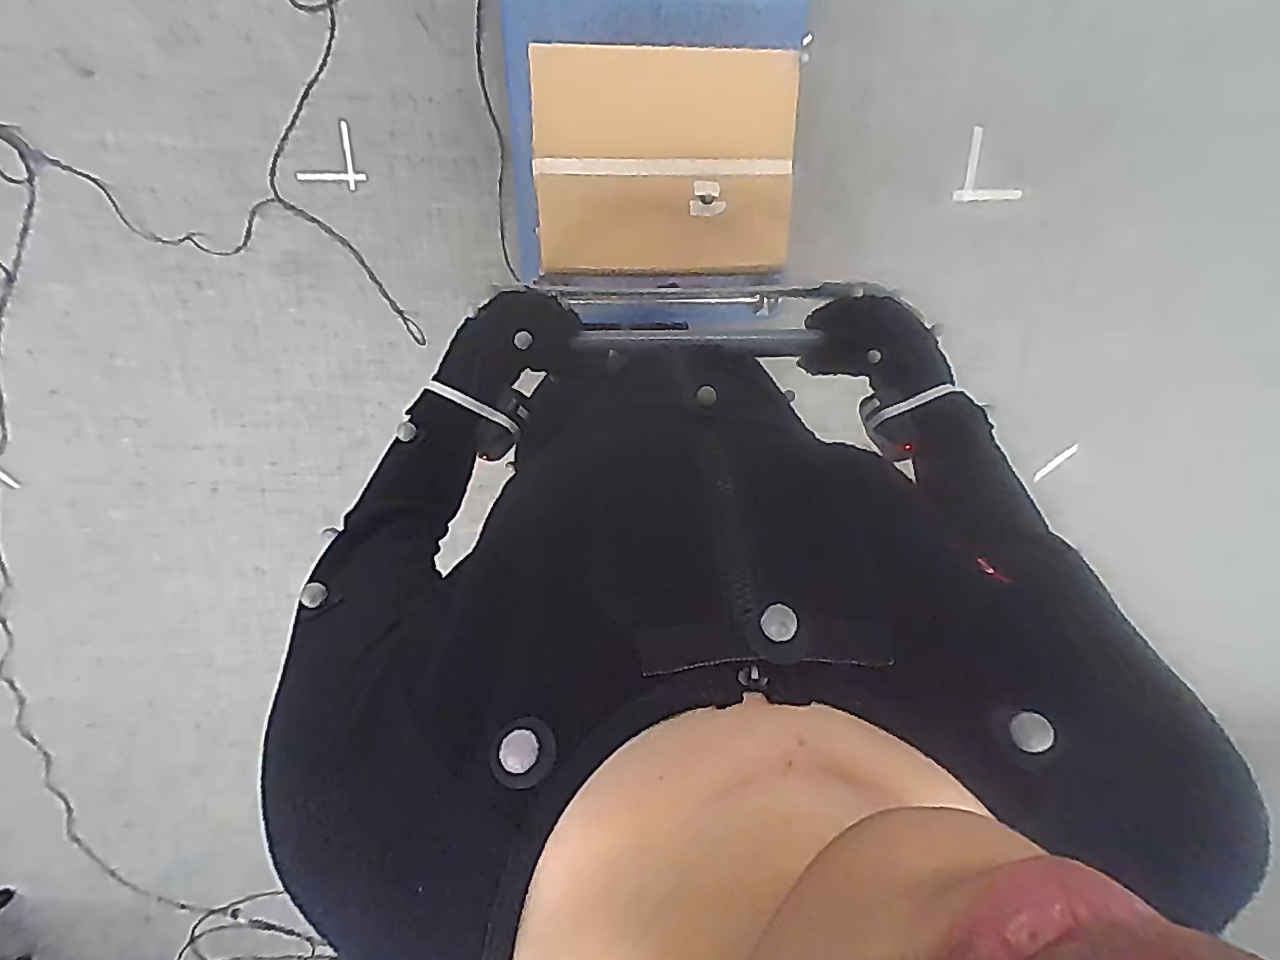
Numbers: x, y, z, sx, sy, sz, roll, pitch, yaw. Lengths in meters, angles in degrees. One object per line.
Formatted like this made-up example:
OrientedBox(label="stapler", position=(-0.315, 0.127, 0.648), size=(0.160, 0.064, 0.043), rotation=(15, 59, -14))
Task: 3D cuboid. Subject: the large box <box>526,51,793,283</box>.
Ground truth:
OrientedBox(label="large box", position=(0.022, -0.531, 0.983), size=(0.408, 0.320, 0.320), rotation=(-2, 110, -4))
